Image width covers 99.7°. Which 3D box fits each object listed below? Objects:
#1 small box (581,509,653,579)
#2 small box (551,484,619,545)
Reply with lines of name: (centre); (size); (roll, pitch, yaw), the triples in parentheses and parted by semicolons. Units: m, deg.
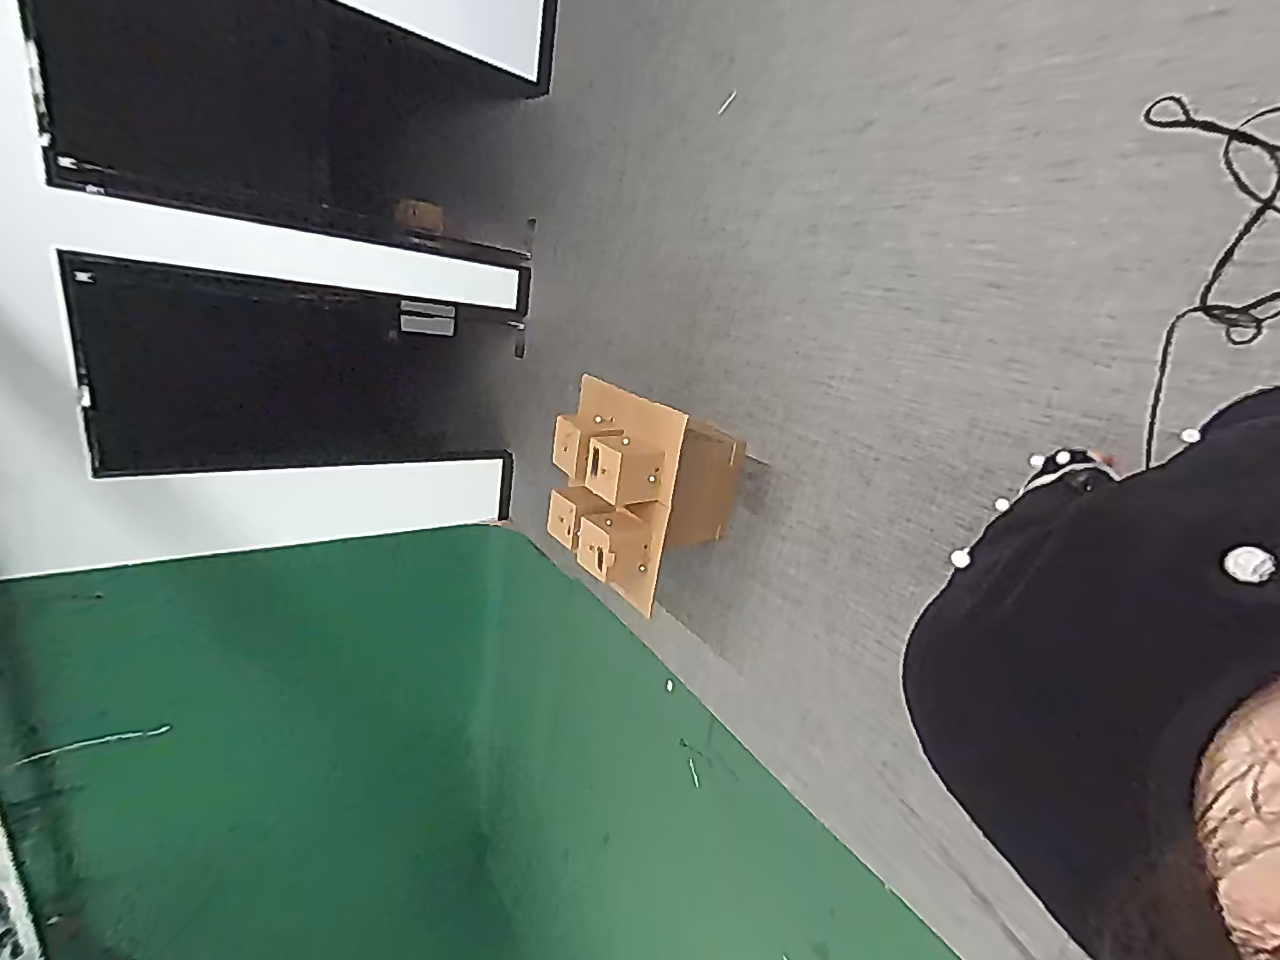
small box: (-0.075, 0.202, 1.773); (0.179, 0.176, 0.168); (27, 115, 50)
small box: (-0.198, 0.116, 1.928); (0.179, 0.176, 0.168); (31, 119, 49)
